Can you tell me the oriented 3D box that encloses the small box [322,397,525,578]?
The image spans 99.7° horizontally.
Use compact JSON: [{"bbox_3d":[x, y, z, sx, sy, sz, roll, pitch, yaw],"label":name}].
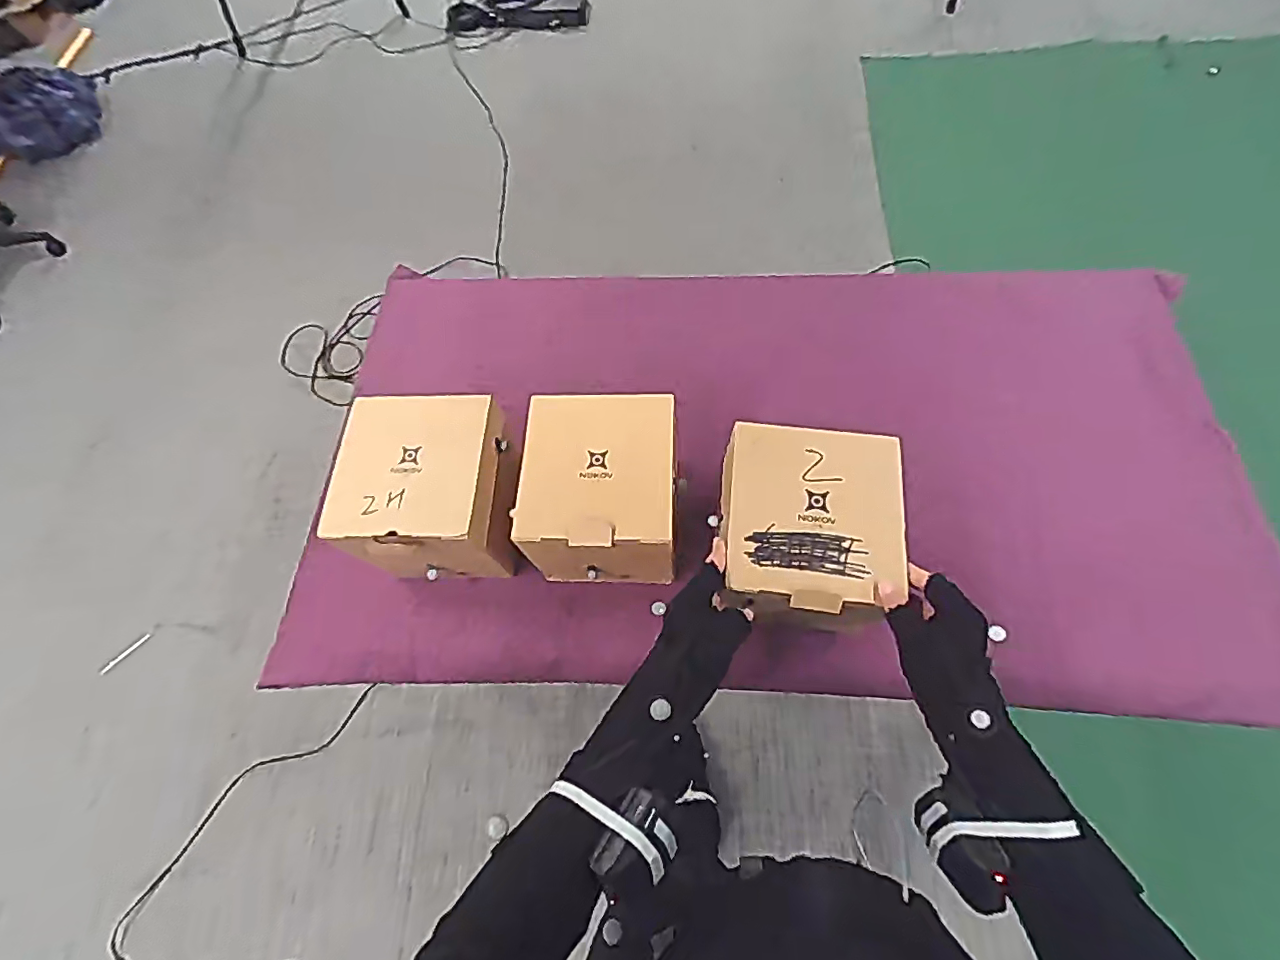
[{"bbox_3d":[-0.249,0.015,0.673,0.168,0.176,0.179,0,66,5],"label":"small box"}]
